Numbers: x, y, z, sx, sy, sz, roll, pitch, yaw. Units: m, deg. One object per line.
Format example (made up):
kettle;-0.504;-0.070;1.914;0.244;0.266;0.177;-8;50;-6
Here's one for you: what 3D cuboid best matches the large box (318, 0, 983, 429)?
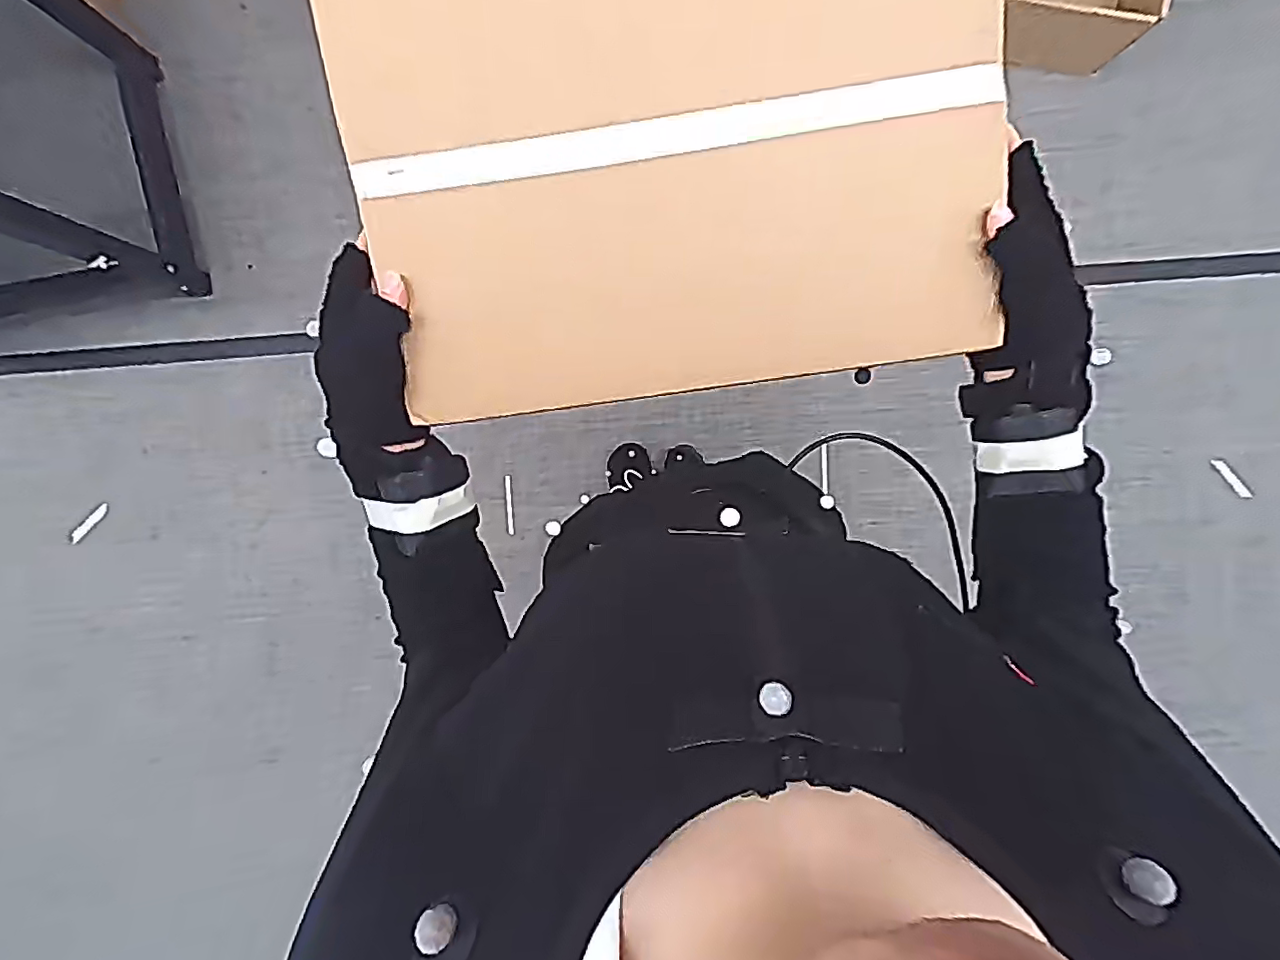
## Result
large box;0.019;-0.247;0.490;0.408;0.320;0.320;-8;102;2
